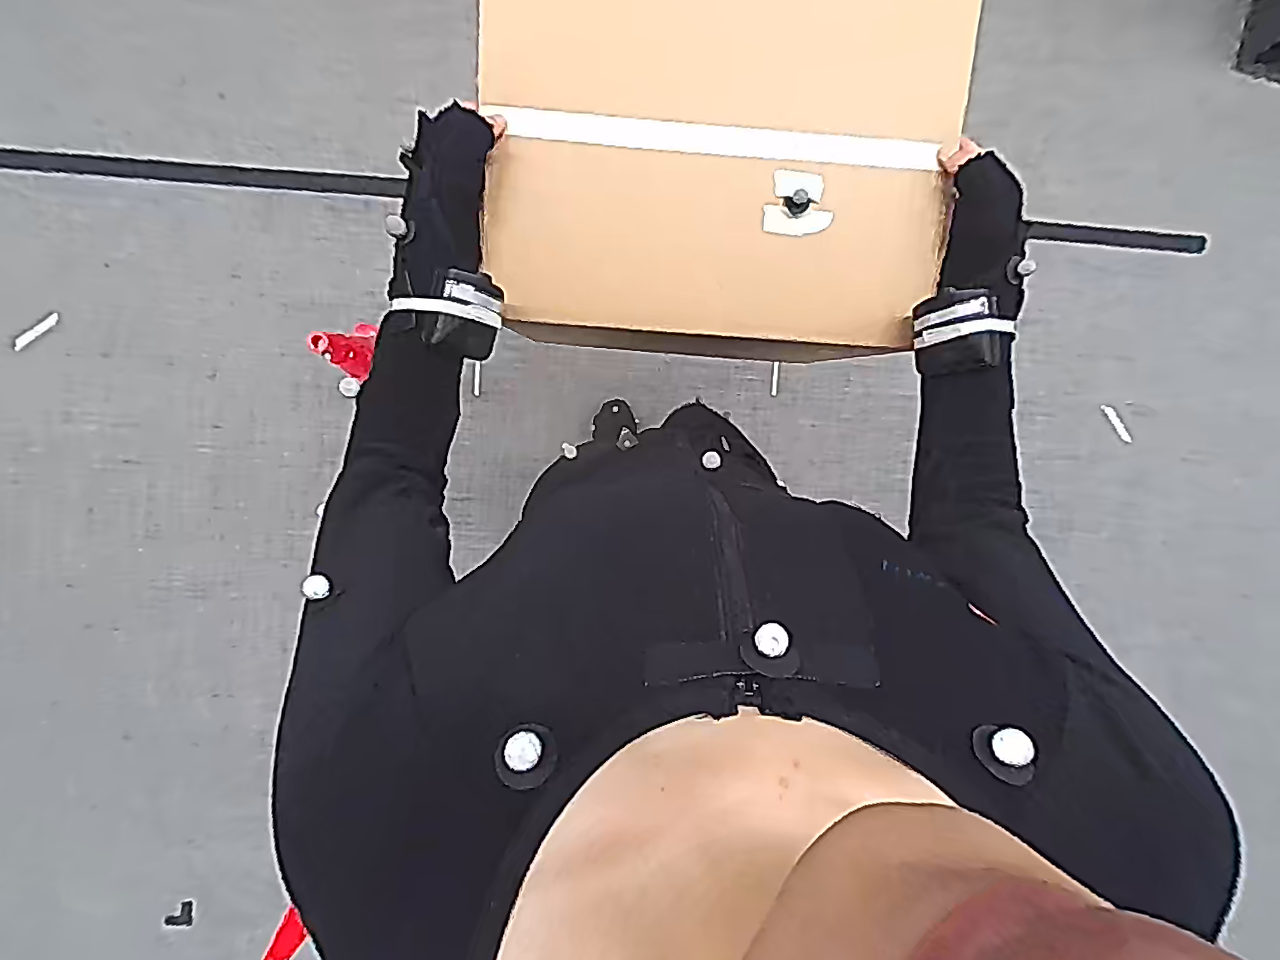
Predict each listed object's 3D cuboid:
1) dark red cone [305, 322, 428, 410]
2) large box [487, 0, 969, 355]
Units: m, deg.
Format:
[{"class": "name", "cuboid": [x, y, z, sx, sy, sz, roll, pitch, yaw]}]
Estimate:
[{"class": "dark red cone", "cuboid": [-0.632, -0.281, 1.210, 0.201, 0.394, 0.202, 8, 93, -5]}, {"class": "large box", "cuboid": [0.062, -0.315, 0.605, 0.408, 0.320, 0.320, 3, 100, -4]}]
